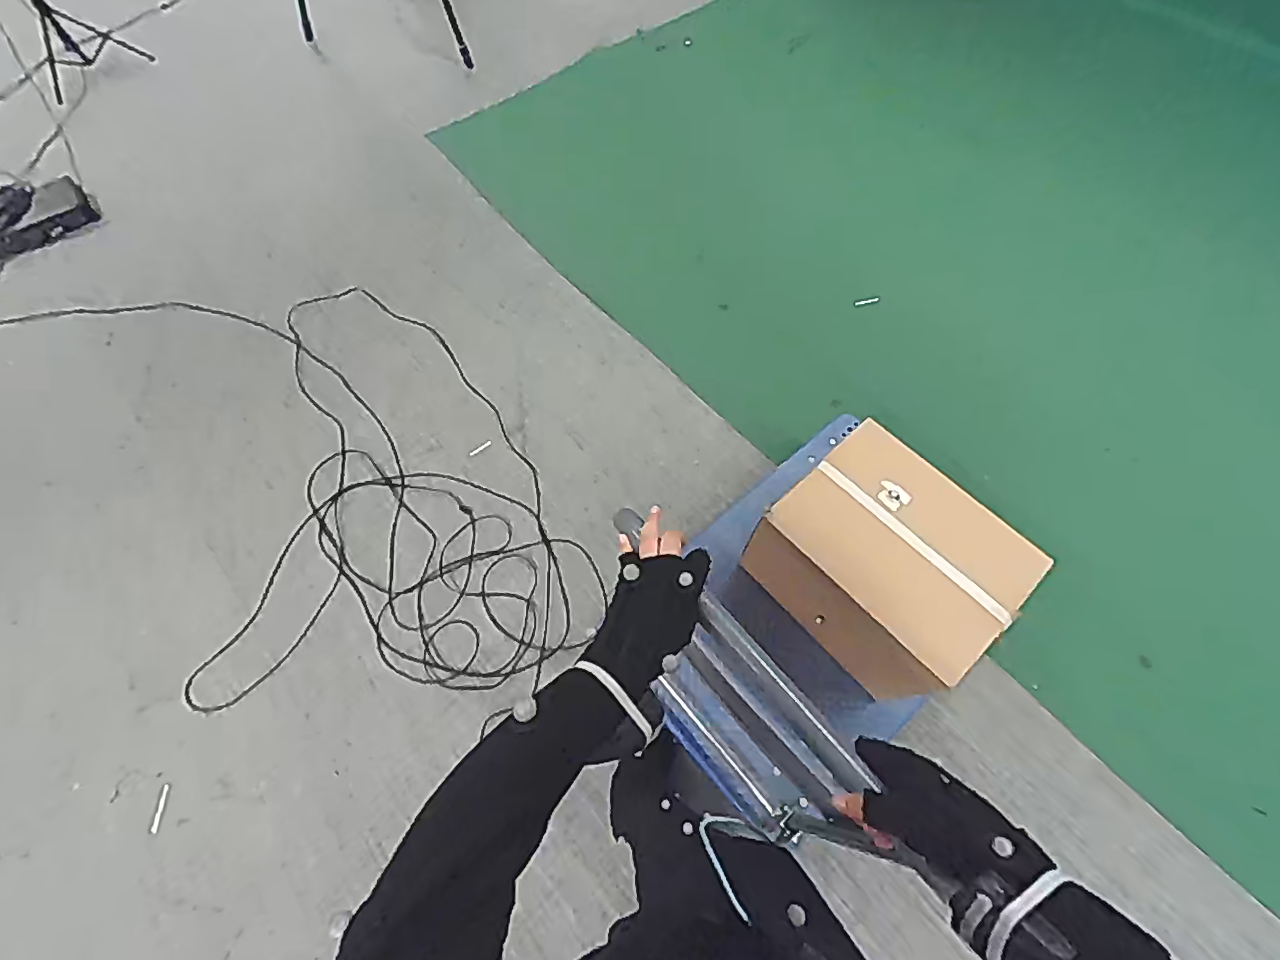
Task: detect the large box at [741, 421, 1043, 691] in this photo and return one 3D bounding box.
[{"bbox_3d":[0.473,0.165,1.110,0.320,0.320,0.408,-39,70,-16],"label":"large box"}]
